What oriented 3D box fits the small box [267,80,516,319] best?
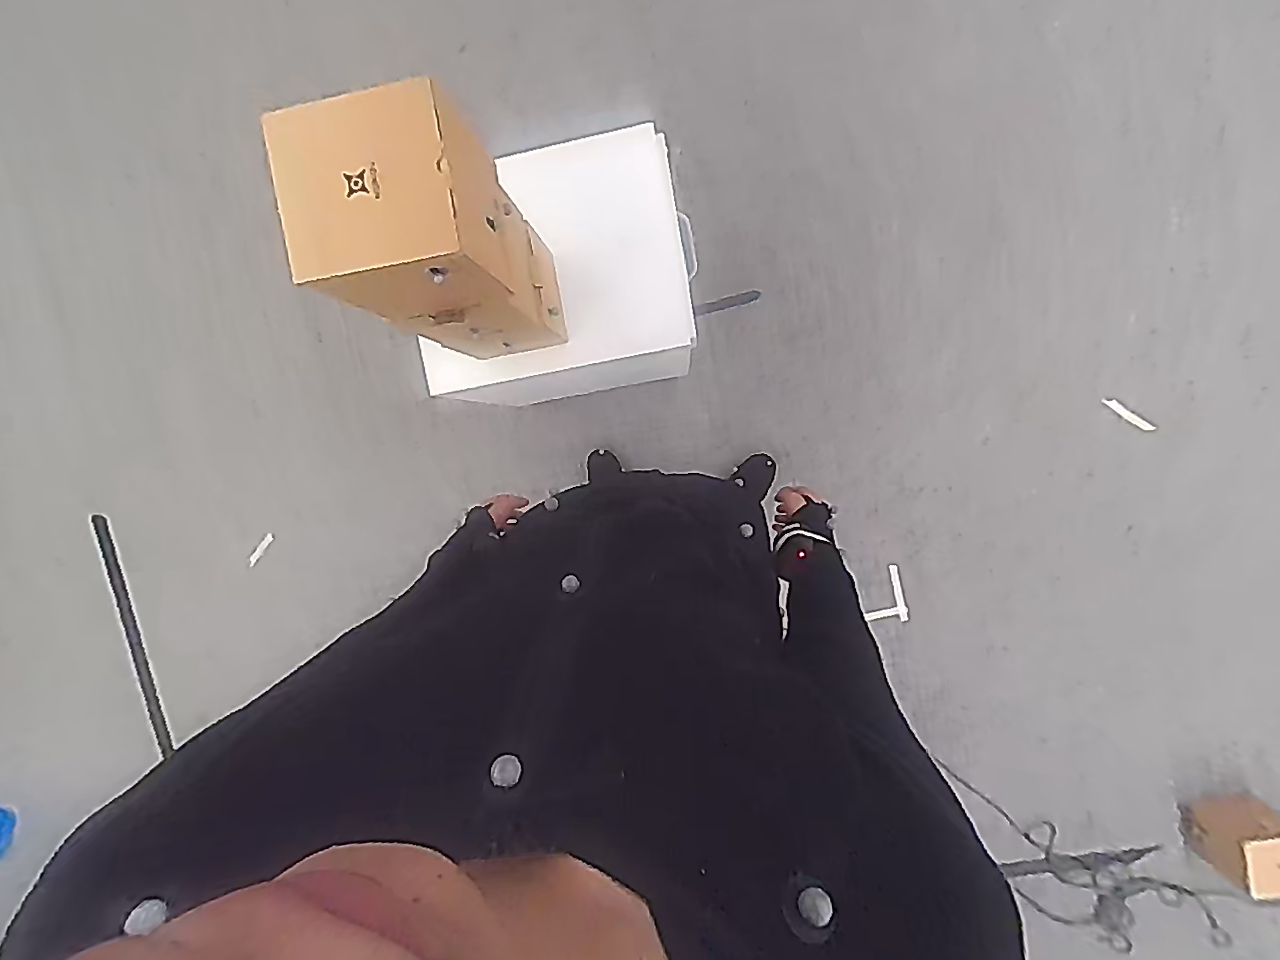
[{"bbox_3d":[-0.257,-0.288,0.597,0.179,0.176,0.168,-9,94,5],"label":"small box"}]

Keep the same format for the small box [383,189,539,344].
[{"bbox_3d":[-0.252,-0.303,0.760,0.168,0.176,0.179,-8,94,6],"label":"small box"}]

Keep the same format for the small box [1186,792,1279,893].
[{"bbox_3d":[1.703,1.007,1.516,0.179,0.176,0.168,-11,94,5],"label":"small box"}]
